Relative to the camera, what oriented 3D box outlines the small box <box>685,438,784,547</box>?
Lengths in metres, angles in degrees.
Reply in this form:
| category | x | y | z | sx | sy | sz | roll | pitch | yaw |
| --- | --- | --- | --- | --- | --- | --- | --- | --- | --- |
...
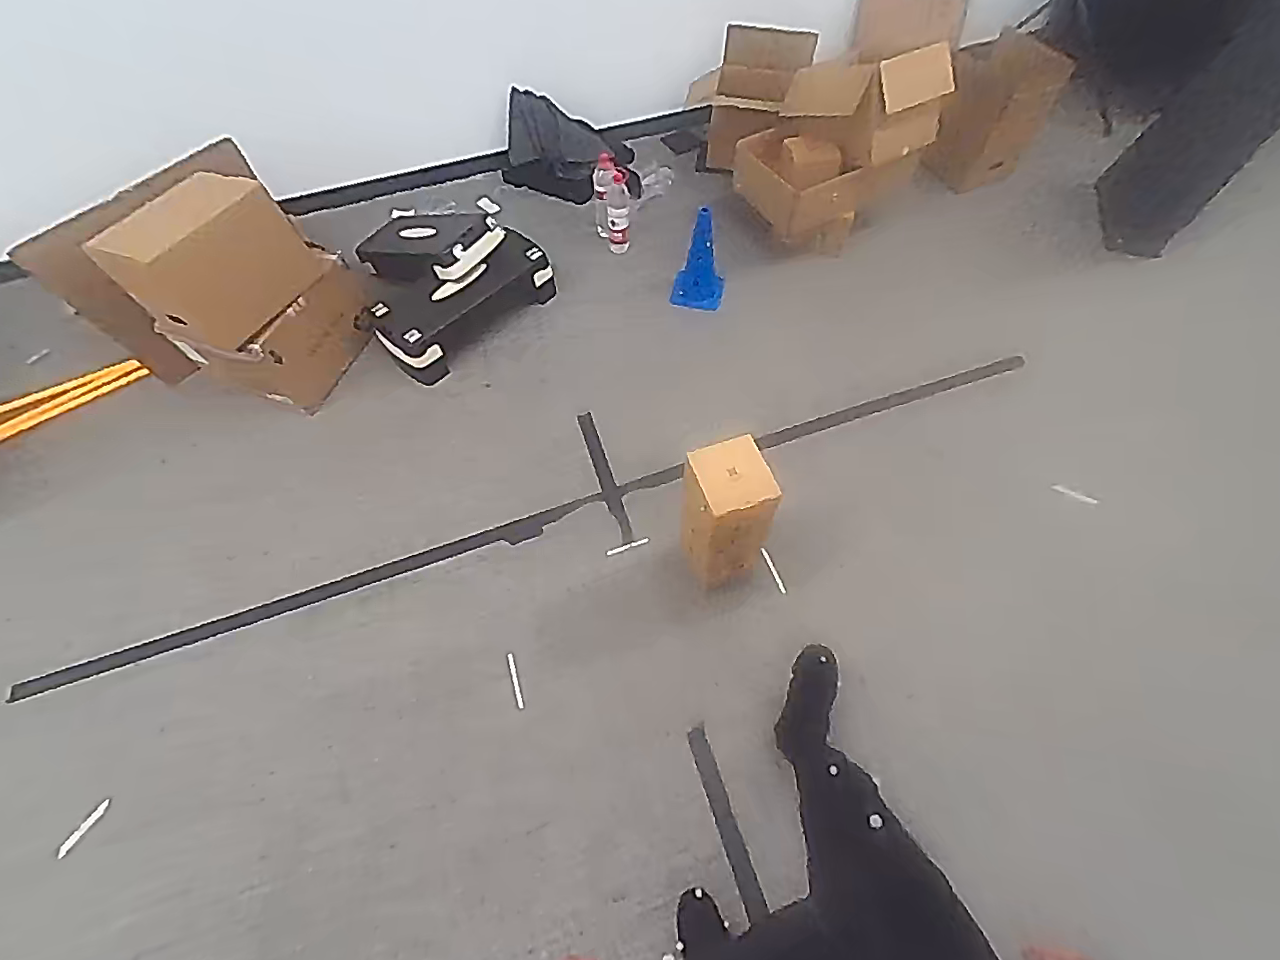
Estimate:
| category | x | y | z | sx | sy | sz | roll | pitch | yaw |
| --- | --- | --- | --- | --- | --- | --- | --- | --- | --- |
| small box | 0.213 | 0.032 | 1.284 | 0.168 | 0.176 | 0.179 | -17 | 62 | -9 |

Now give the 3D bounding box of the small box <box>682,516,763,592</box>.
| category | x | y | z | sx | sy | sz | roll | pitch | yaw |
| --- | --- | --- | --- | --- | --- | --- | --- | --- | --- |
| small box | 0.230 | 0.197 | 1.567 | 0.168 | 0.176 | 0.179 | -21 | 63 | -10 |
